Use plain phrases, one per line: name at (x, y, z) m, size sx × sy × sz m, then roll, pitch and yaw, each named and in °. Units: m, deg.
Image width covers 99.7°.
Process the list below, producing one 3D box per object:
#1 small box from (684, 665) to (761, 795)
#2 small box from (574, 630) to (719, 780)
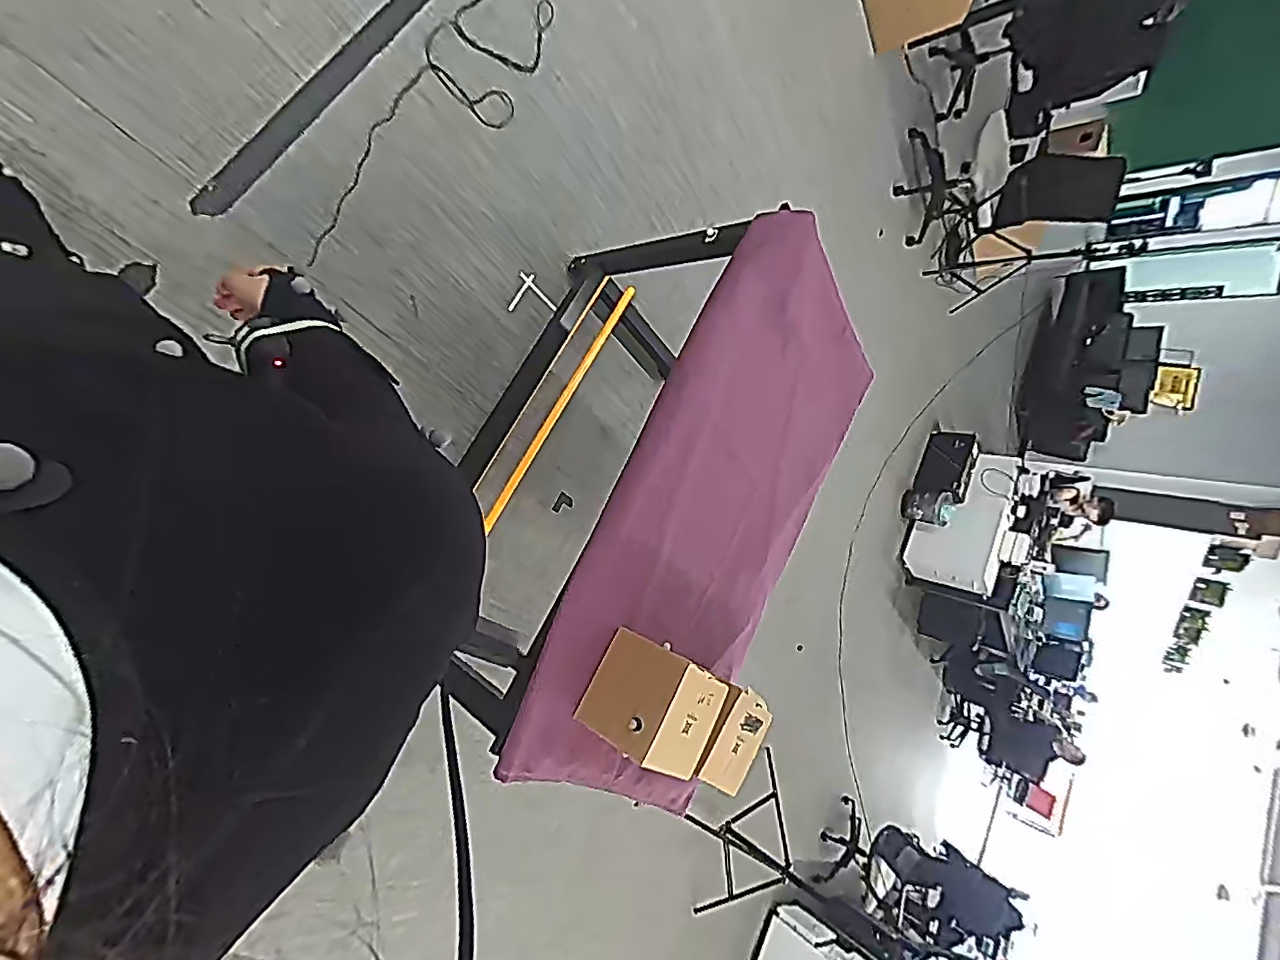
small box at (0.114, 0.499, 1.107) m, size 0.179 × 0.176 × 0.168 m, roll -57°, pitch 132°, yaw -20°
small box at (0.008, 0.398, 0.970) m, size 0.168 × 0.176 × 0.179 m, roll 47°, pitch 65°, yaw -44°
